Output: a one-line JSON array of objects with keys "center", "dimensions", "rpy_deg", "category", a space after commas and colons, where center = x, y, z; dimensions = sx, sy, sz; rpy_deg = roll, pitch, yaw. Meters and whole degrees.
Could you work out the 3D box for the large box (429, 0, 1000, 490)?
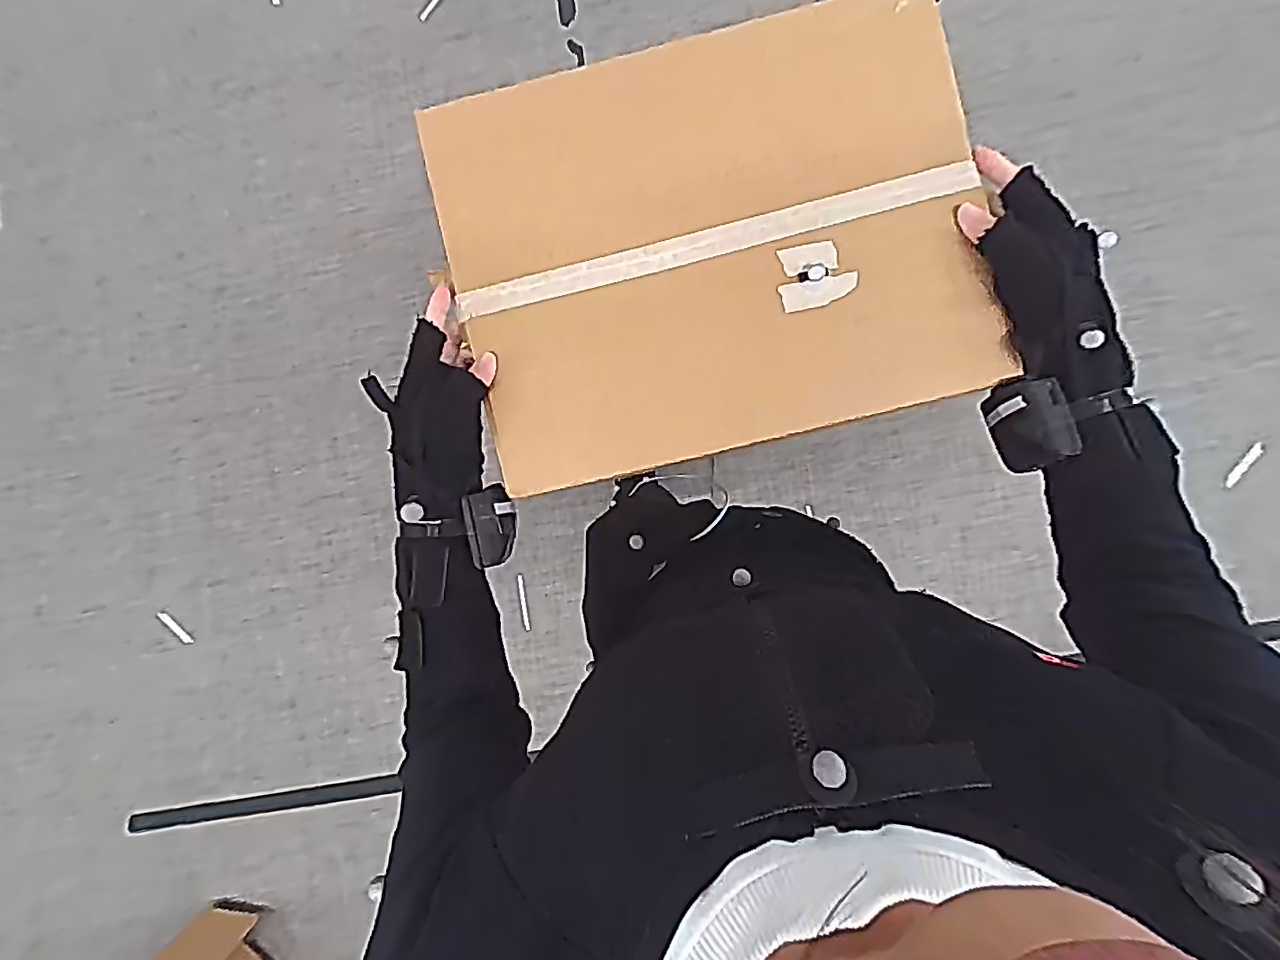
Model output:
[{"center": [0.059, -0.188, 0.578], "dimensions": [0.408, 0.320, 0.320], "rpy_deg": [-14, 91, 2], "category": "large box"}]
